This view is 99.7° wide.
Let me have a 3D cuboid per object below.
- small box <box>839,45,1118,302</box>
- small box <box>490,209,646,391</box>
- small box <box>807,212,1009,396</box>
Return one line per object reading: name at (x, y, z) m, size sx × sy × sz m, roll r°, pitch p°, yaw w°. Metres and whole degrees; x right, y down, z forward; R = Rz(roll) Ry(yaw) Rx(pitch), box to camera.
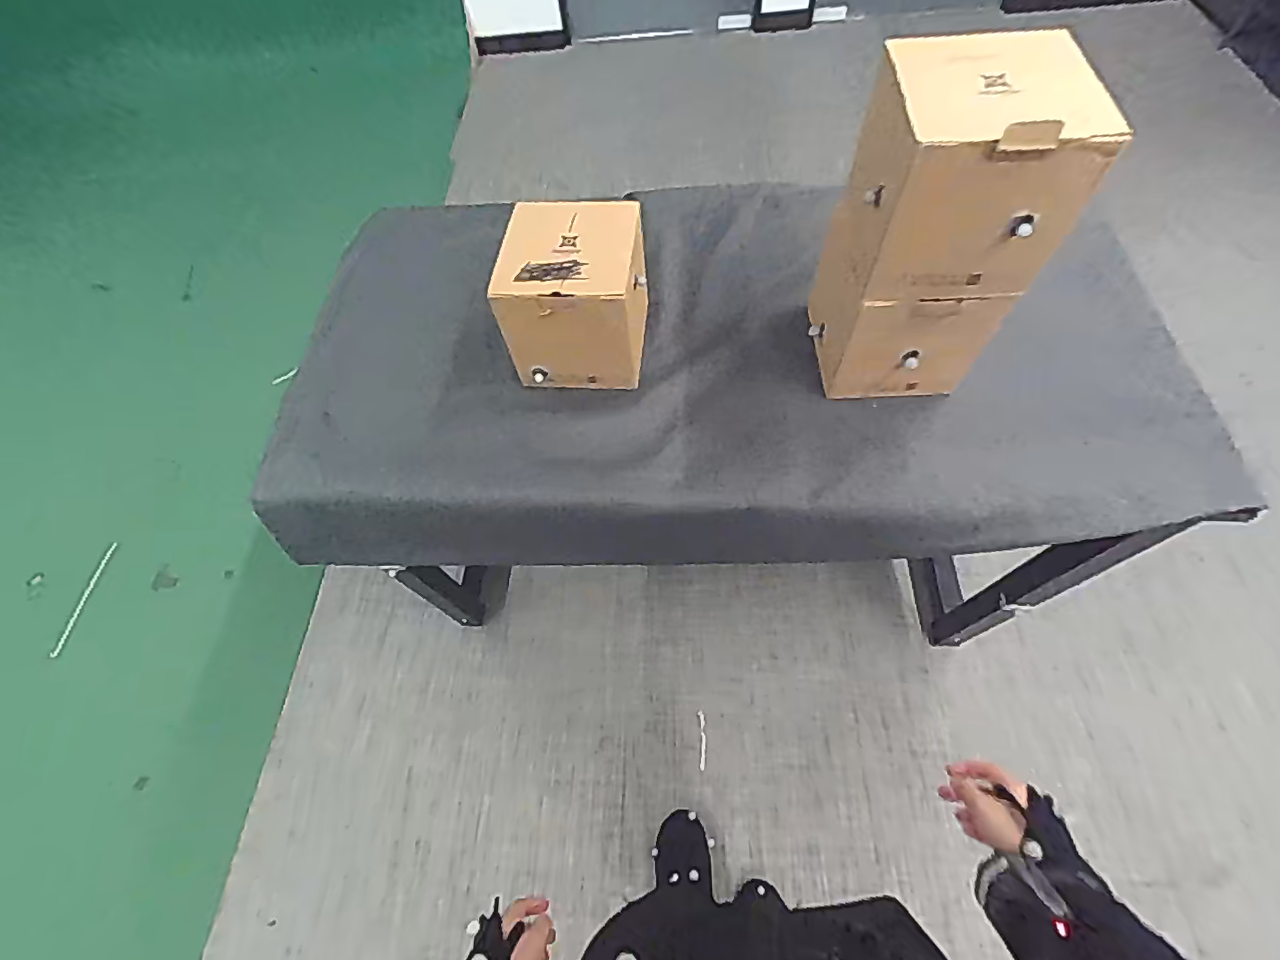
small box at (0.313, -0.300, 0.550) m, size 0.168 × 0.176 × 0.179 m, roll 1°, pitch 60°, yaw 5°
small box at (-0.083, -0.239, 0.736) m, size 0.168 × 0.176 × 0.179 m, roll 3°, pitch 60°, yaw 6°
small box at (0.321, -0.219, 0.691) m, size 0.168 × 0.176 × 0.179 m, roll -2°, pitch 61°, yaw 4°
